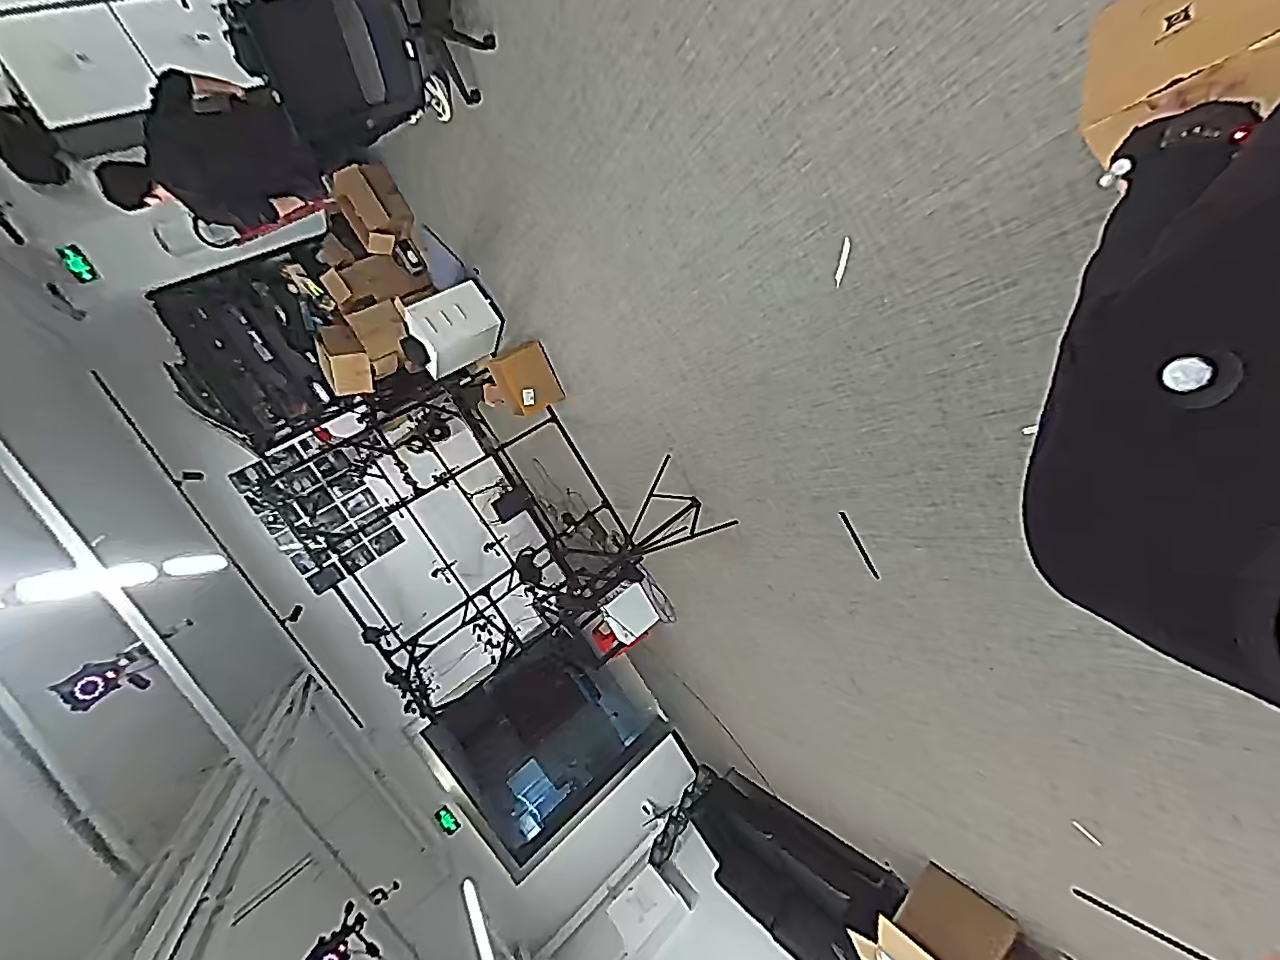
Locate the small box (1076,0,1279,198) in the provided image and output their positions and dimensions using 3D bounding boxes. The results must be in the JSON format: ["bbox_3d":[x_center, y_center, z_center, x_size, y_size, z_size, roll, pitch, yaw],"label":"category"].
[{"bbox_3d":[0.644,-0.464,0.626,0.176,0.179,0.168,22,166,-29],"label":"small box"}]
